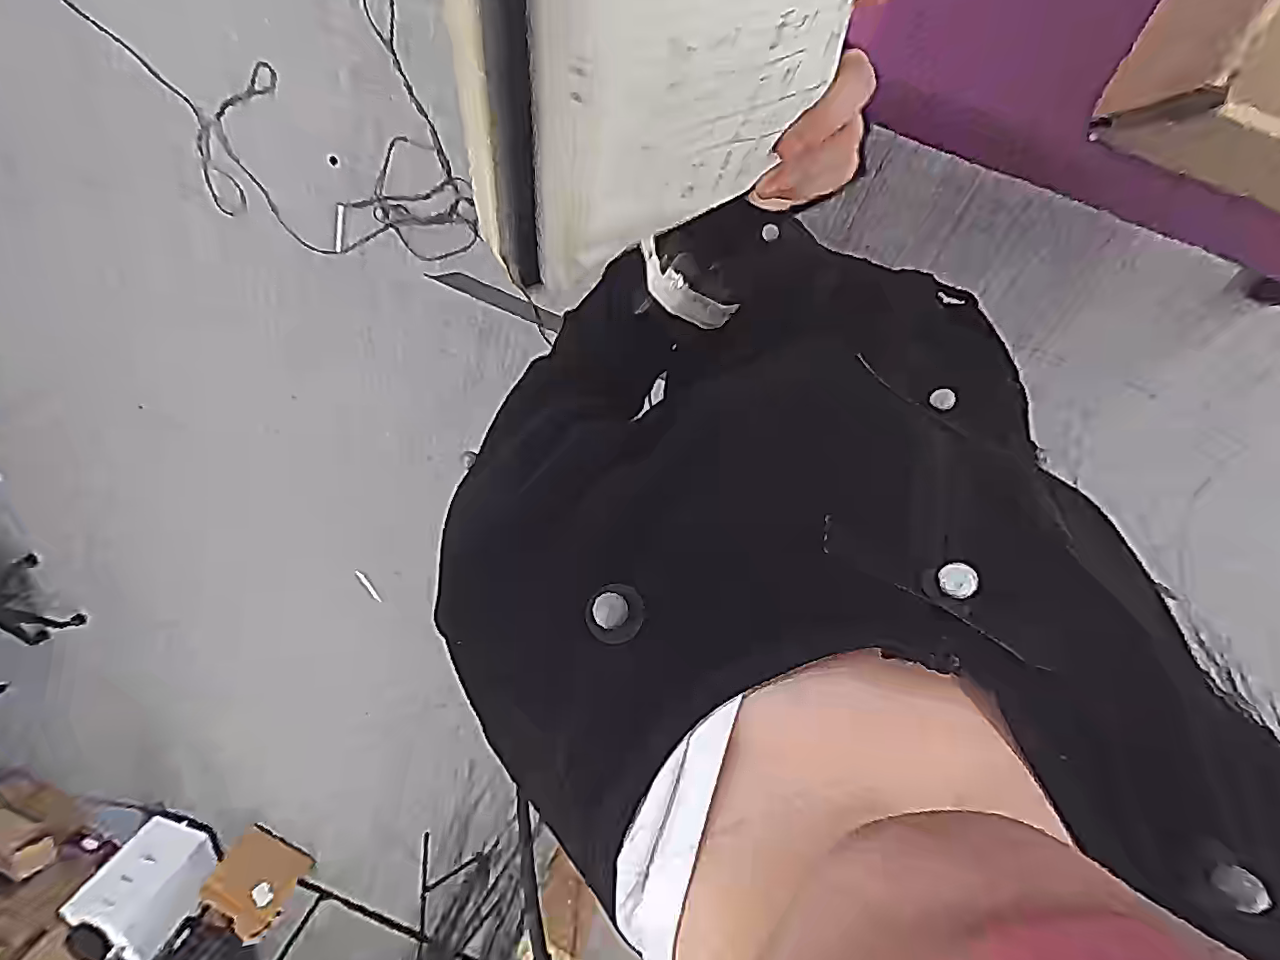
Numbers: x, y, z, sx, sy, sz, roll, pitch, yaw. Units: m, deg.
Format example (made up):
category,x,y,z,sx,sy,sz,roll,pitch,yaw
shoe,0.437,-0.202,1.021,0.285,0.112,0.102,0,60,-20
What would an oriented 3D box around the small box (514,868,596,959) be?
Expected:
category,x,y,z,sx,sy,sz,roll,pitch,yaw
small box,-0.243,1.281,1.573,0.168,0.176,0.179,23,121,2
